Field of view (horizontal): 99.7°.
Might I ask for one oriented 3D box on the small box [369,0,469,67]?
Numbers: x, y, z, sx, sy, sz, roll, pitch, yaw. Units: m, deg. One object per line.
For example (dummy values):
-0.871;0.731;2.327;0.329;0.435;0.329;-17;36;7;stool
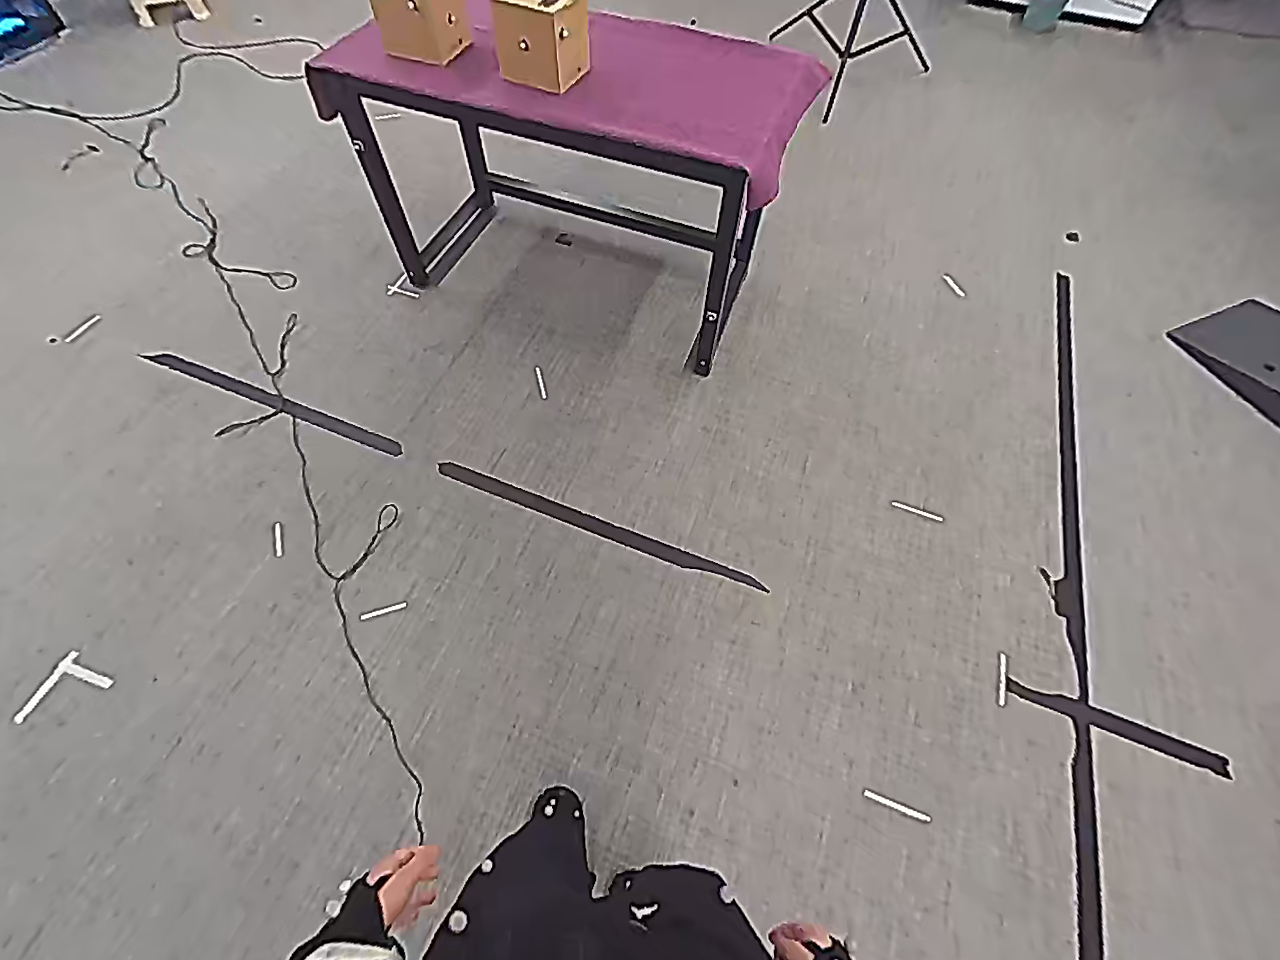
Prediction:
-0.569;-1.209;1.401;0.179;0.176;0.168;17;59;8;small box
